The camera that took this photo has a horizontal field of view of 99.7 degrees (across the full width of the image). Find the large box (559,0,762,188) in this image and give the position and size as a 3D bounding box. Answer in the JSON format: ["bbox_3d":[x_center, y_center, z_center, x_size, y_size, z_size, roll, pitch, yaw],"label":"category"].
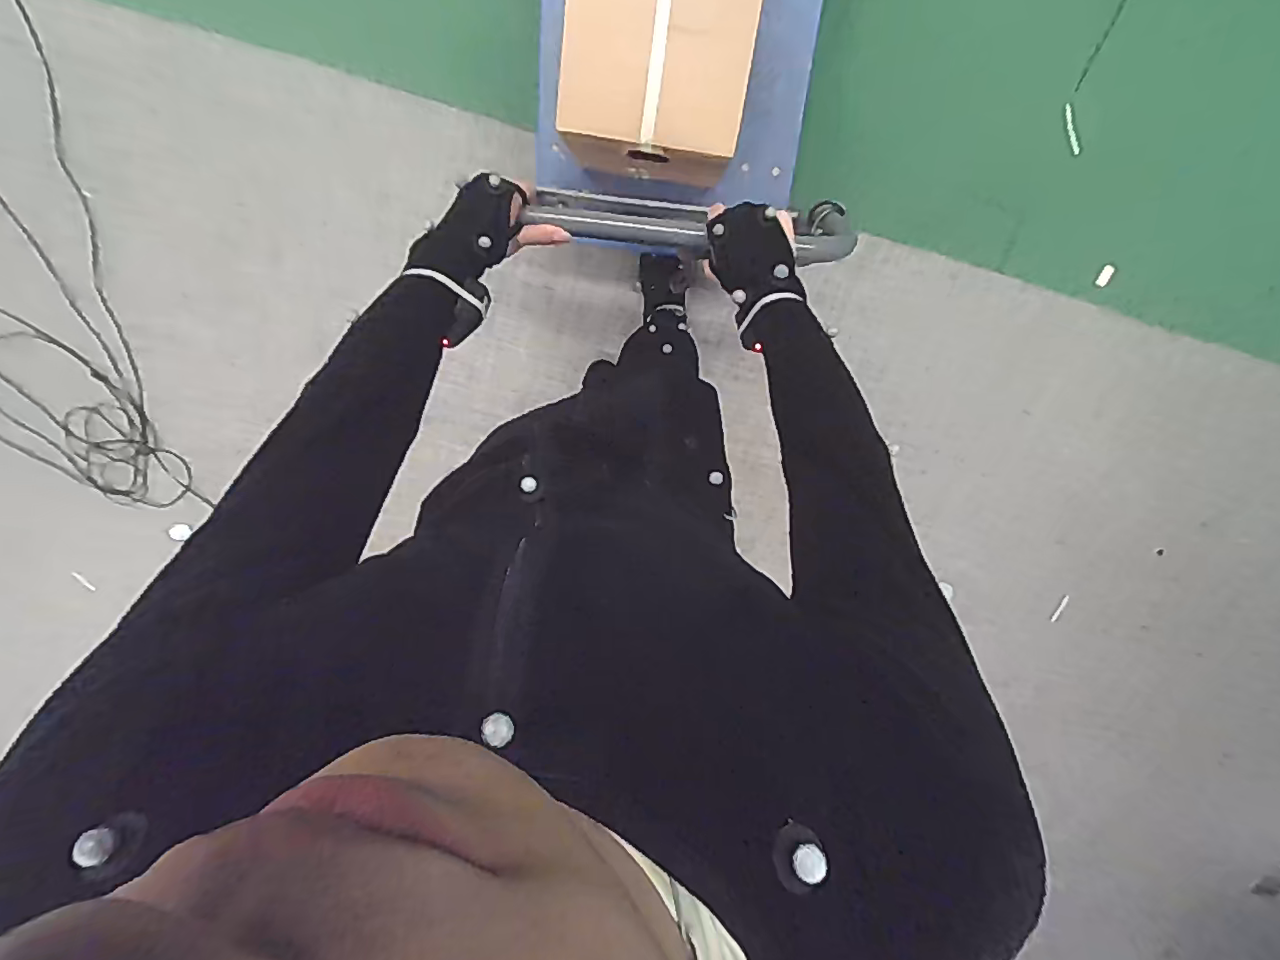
[{"bbox_3d":[0.044,-0.809,1.007,0.320,0.320,0.408,9,109,-1],"label":"large box"}]
